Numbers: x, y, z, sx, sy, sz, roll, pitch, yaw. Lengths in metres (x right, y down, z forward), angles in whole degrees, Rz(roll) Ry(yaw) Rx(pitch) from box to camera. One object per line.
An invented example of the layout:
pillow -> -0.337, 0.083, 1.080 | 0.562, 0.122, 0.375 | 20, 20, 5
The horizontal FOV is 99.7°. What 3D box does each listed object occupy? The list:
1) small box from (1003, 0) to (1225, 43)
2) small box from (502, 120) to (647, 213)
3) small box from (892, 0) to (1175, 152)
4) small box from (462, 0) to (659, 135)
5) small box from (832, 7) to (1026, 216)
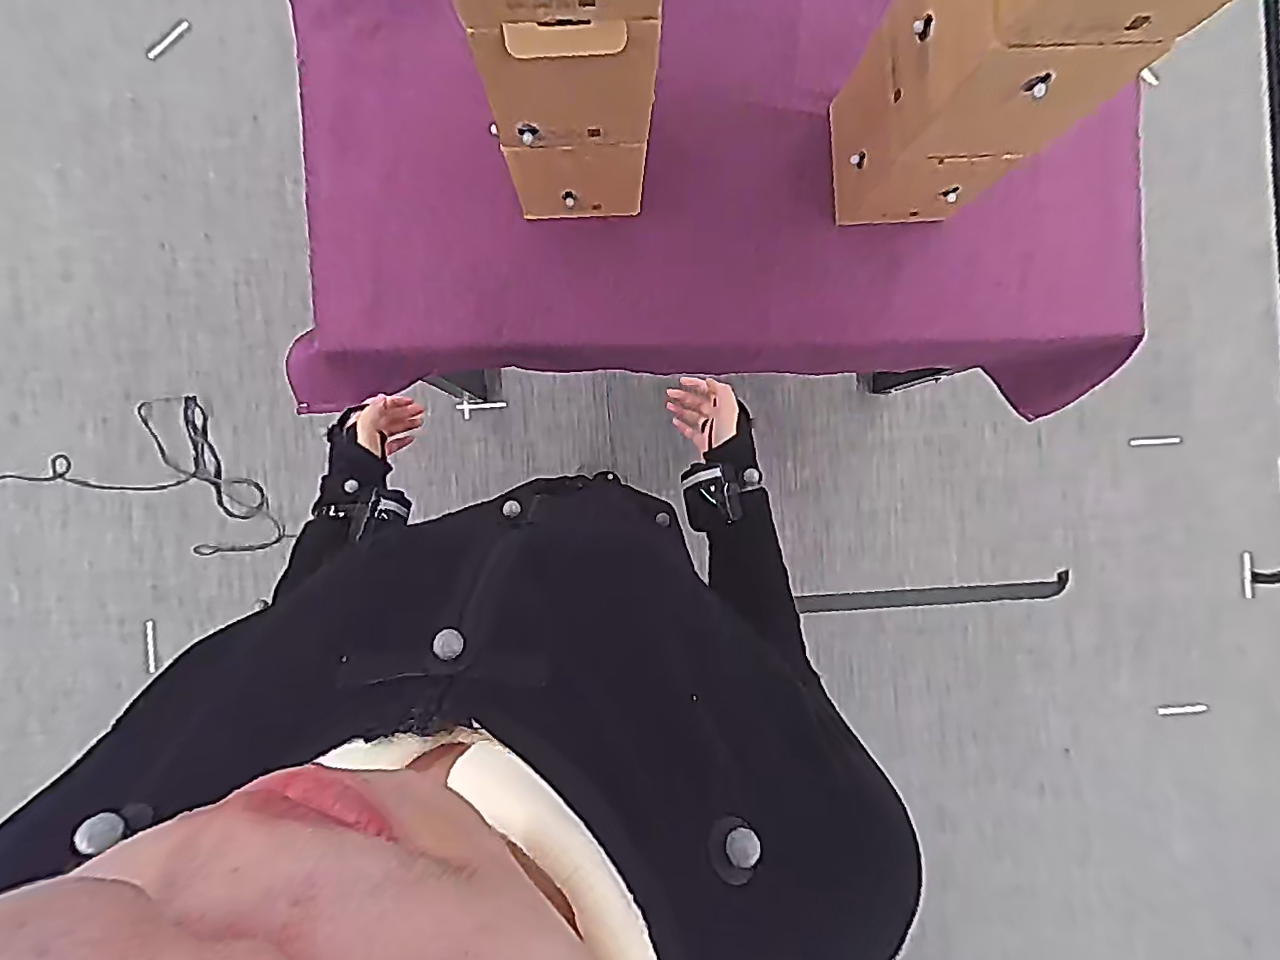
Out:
small box -> 0.388, -0.463, 0.383 | 0.168, 0.176, 0.179 | -3, 91, -3
small box -> -0.083, -0.466, 0.687 | 0.168, 0.176, 0.179 | -4, 92, -3
small box -> 0.374, -0.460, 0.547 | 0.179, 0.176, 0.168 | -4, 92, -4
small box -> -0.075, -0.464, 0.523 | 0.168, 0.176, 0.179 | -5, 91, -4
small box -> 0.366, -0.466, 0.711 | 0.168, 0.176, 0.179 | -3, 91, -4
